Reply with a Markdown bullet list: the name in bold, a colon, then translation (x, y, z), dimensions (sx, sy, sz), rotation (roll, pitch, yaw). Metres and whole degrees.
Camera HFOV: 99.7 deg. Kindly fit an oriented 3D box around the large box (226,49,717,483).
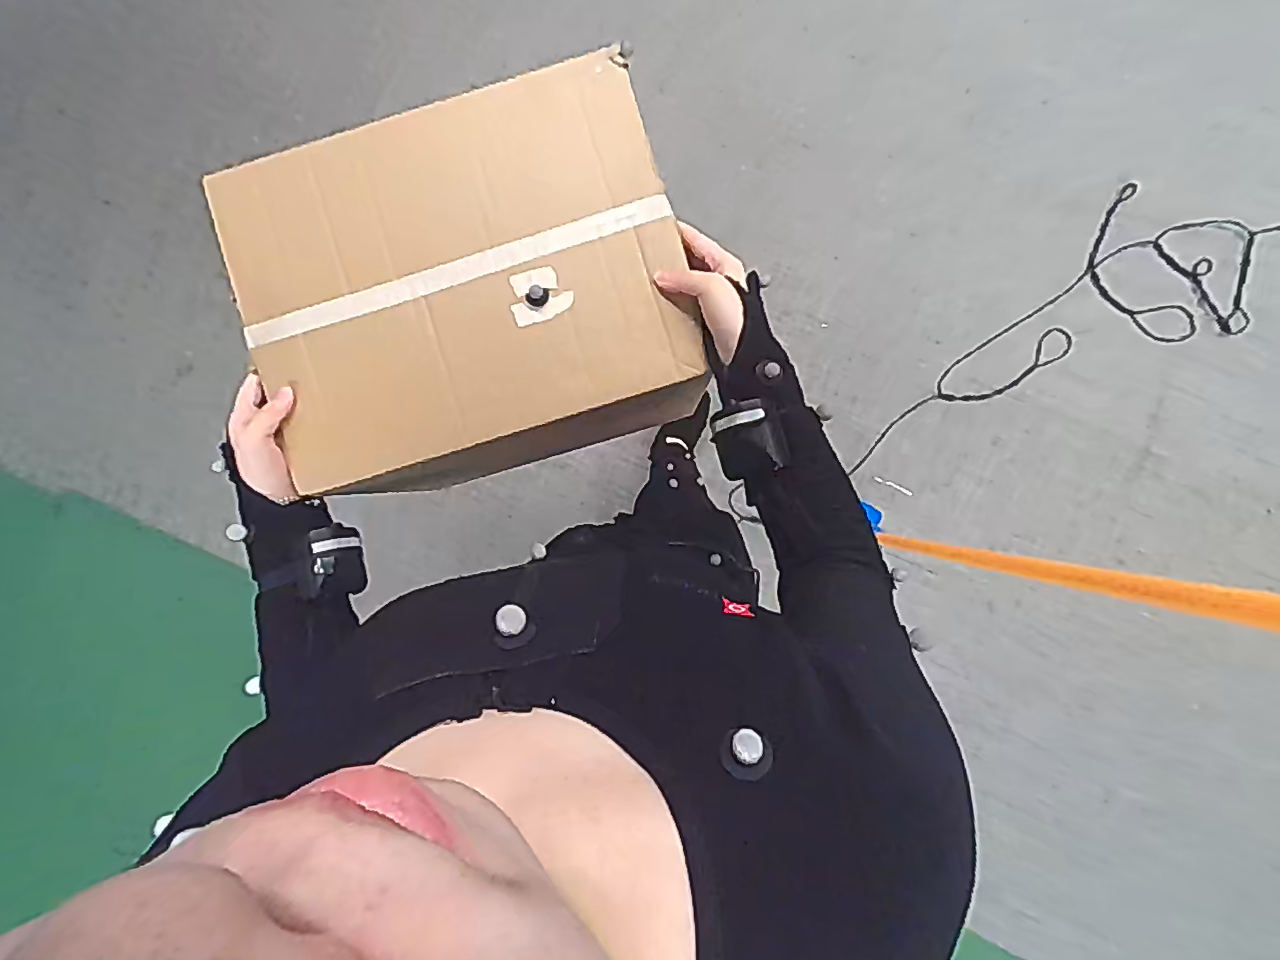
- **large box**: translation (-0.160, -0.200, 0.653), dimensions (0.408, 0.320, 0.320), rotation (-17, 90, 0)
